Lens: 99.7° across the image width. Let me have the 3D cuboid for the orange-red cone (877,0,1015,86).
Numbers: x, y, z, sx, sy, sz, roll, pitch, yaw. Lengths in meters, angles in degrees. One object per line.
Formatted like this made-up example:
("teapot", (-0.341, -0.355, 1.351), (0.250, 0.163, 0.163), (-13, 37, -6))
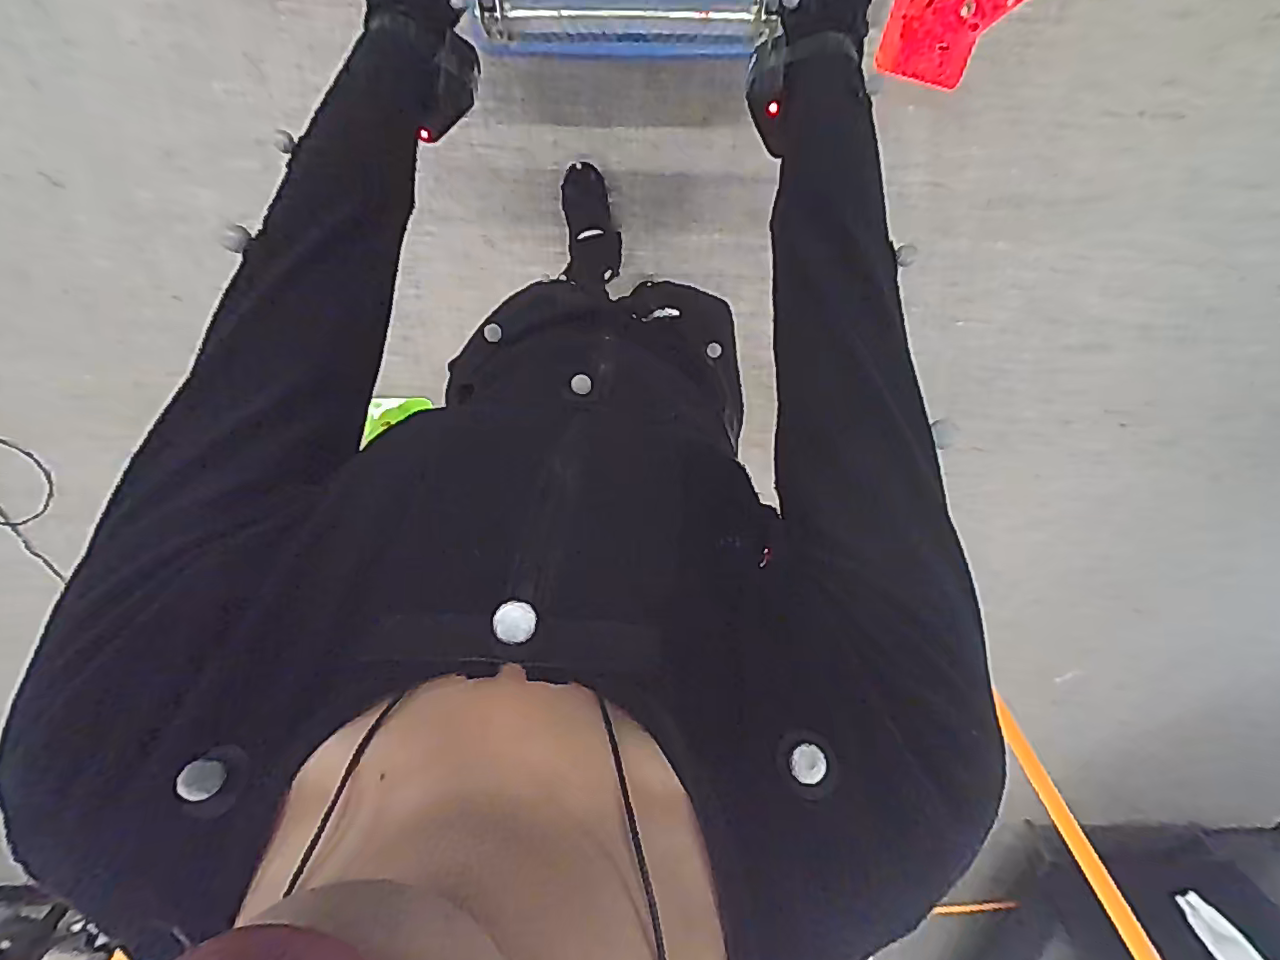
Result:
("orange-red cone", (0.613, -0.862, 0.961), (0.198, 0.360, 0.199), (11, 119, -7))
